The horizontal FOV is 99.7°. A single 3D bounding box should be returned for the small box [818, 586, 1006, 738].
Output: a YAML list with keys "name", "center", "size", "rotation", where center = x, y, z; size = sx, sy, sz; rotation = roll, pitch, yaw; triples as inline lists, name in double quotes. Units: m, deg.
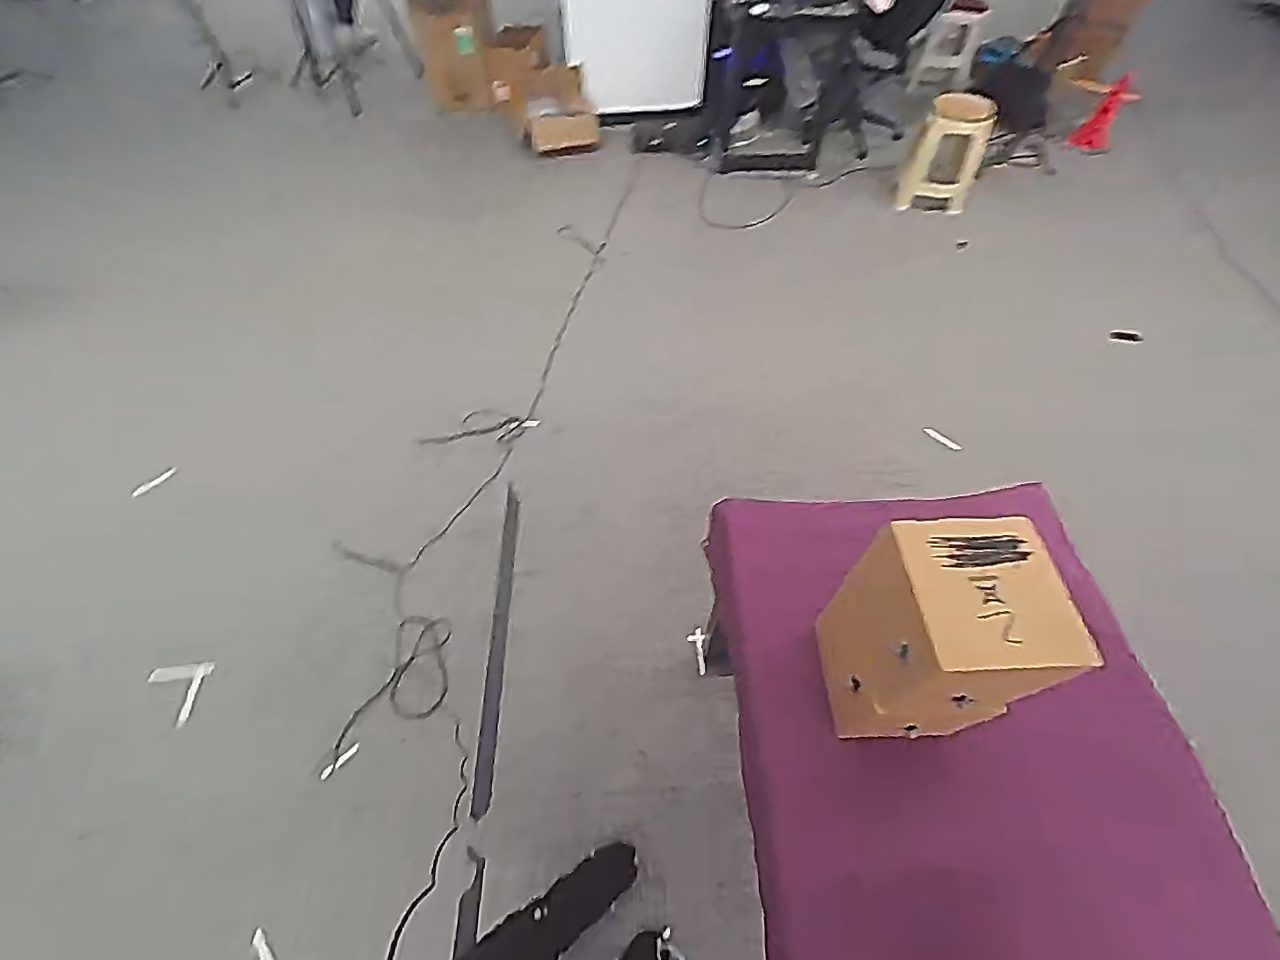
- name: "small box"
  center: [0.370, 0.265, 0.776]
  size: [0.168, 0.176, 0.179]
  rotation: [0, 56, 0]
